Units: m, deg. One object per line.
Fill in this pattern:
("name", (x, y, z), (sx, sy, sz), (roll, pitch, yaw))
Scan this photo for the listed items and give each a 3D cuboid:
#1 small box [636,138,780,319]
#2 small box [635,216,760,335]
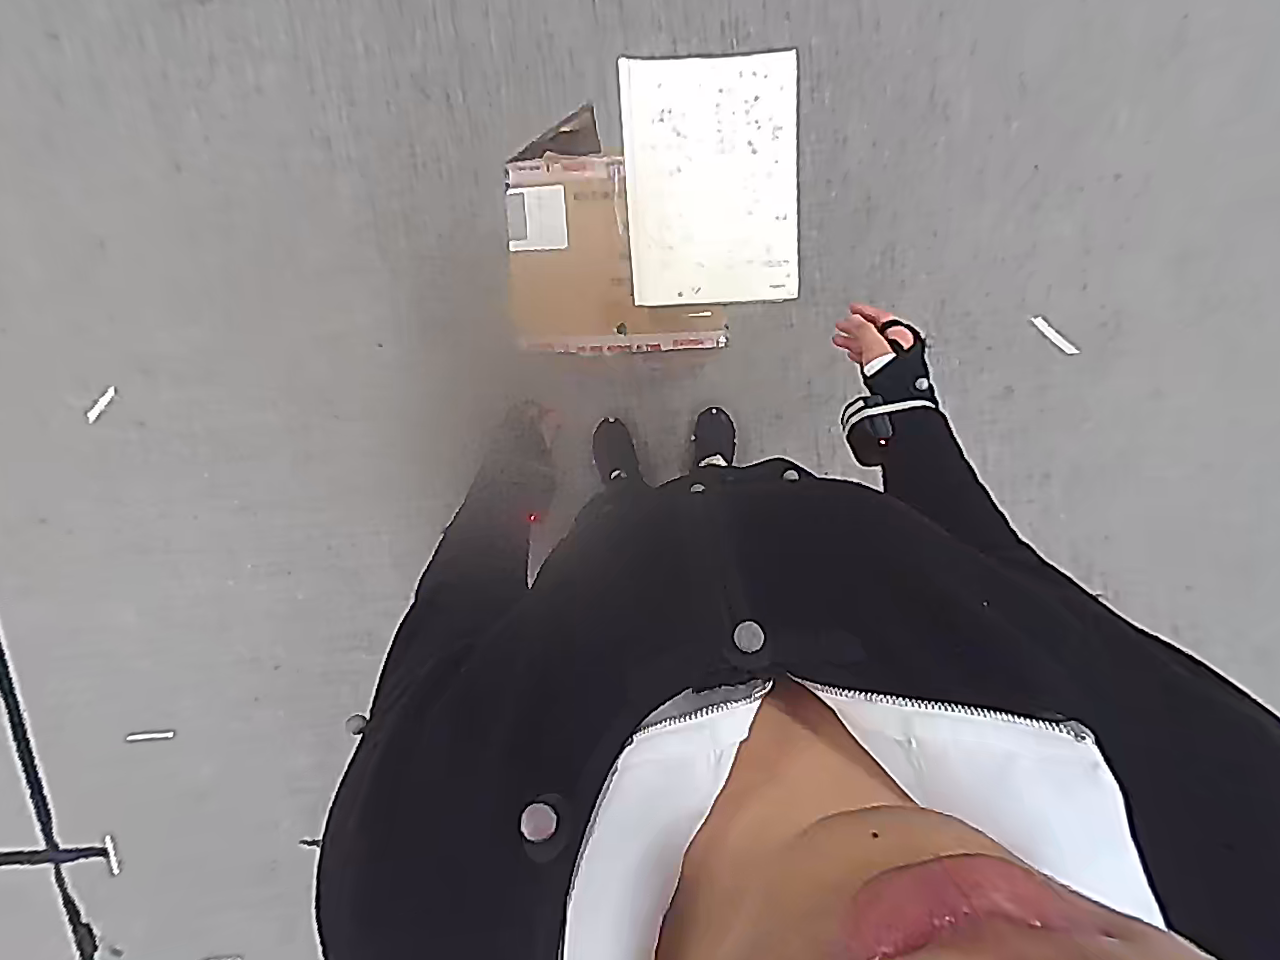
("small box", (0.083, -0.327, 0.734), (0.168, 0.176, 0.179), (-6, 99, 1))
("small box", (0.088, -0.342, 0.896), (0.179, 0.176, 0.168), (-8, 98, 2))
